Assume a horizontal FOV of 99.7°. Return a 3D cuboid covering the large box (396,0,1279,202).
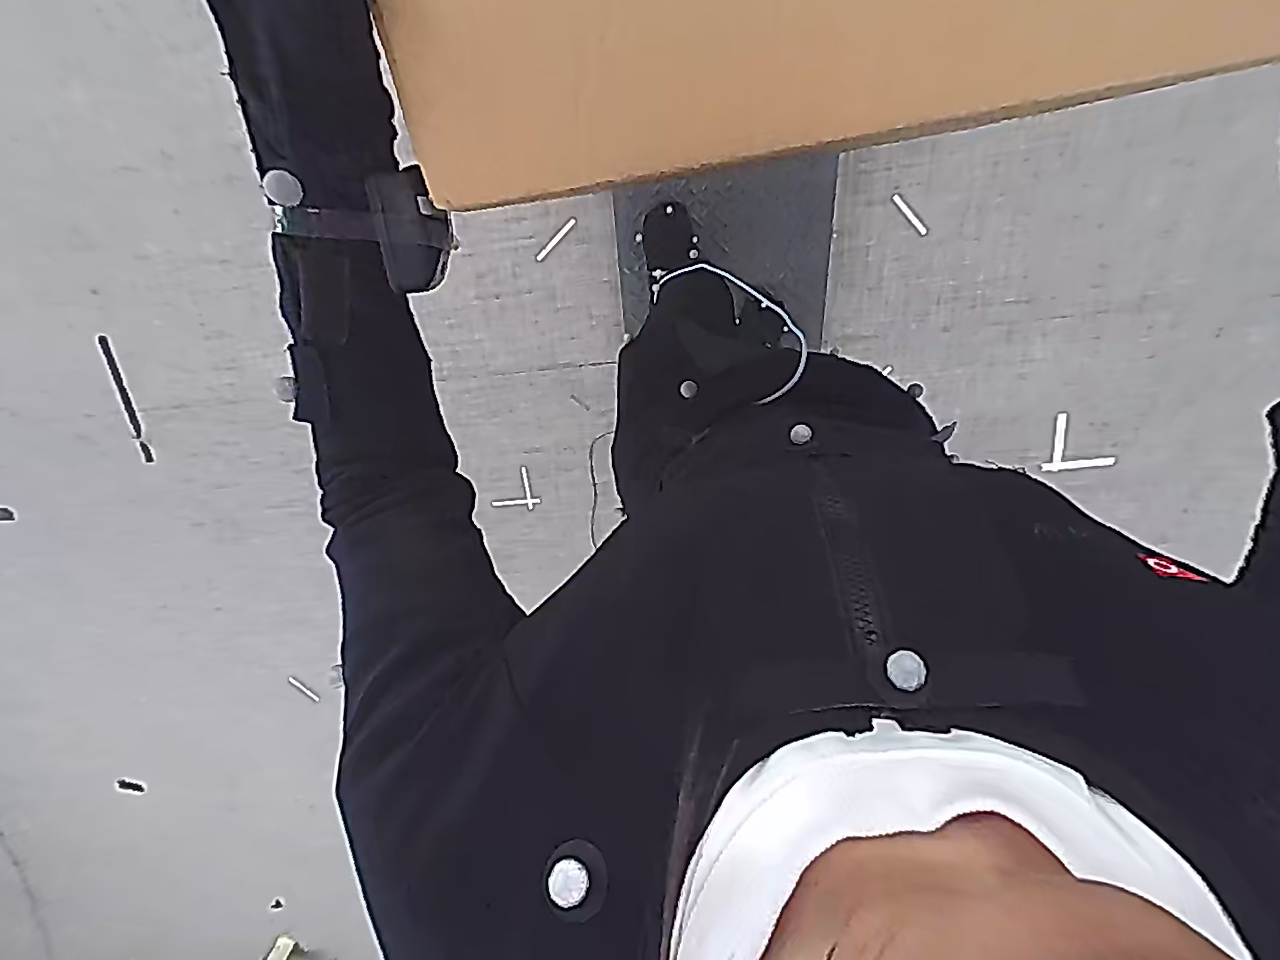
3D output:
[{"bbox_3d":[0.081,-0.374,0.319,0.408,0.320,0.320,-6,118,9],"label":"large box"}]
